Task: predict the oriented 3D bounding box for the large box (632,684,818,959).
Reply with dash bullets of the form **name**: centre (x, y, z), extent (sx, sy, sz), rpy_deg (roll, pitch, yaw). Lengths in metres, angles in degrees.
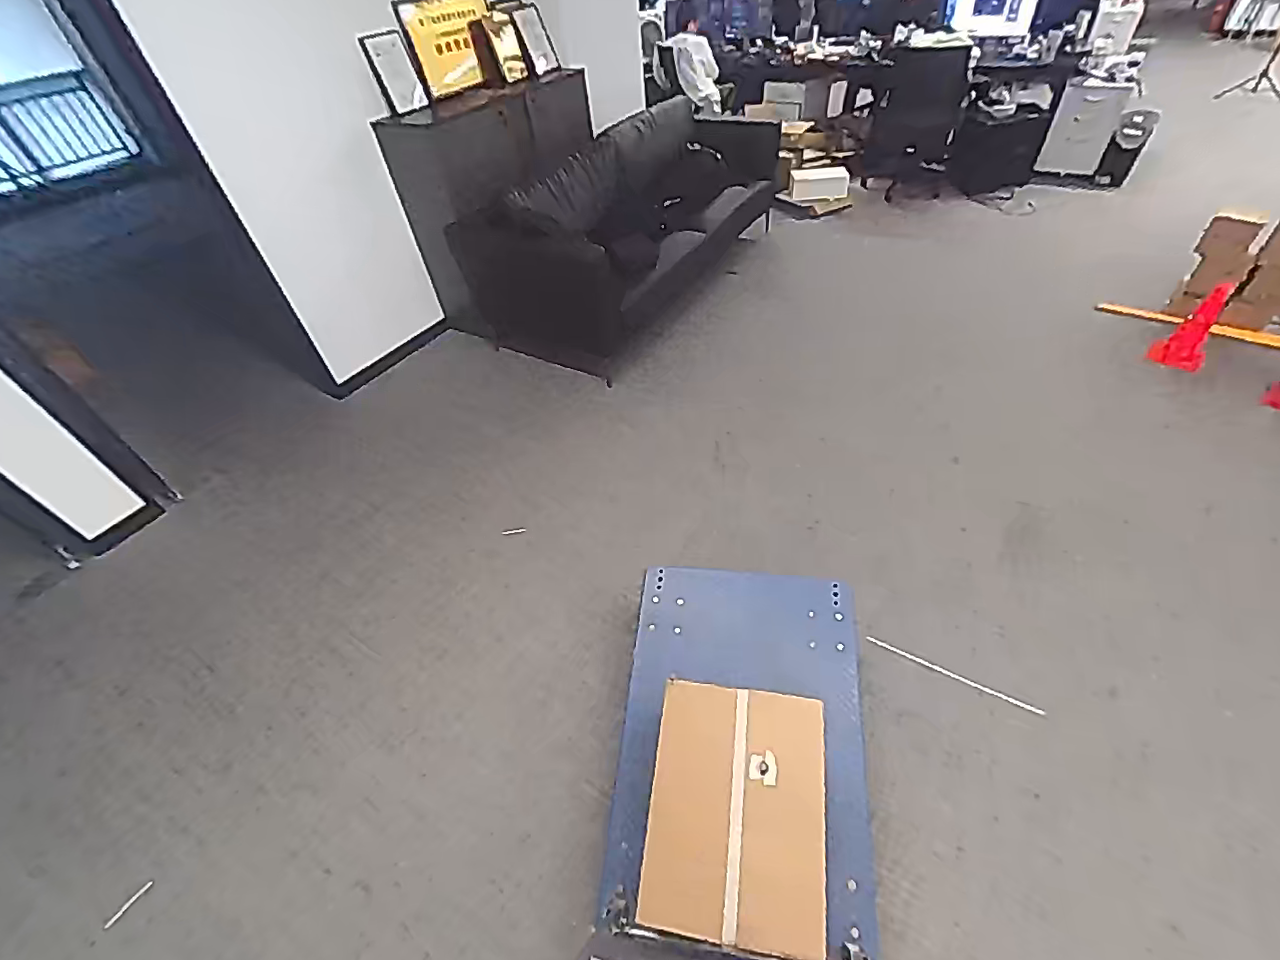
- **large box**: centre (0.183, 0.682, 1.117), extent (0.320, 0.320, 0.408), rpy_deg (5, 58, 10)
